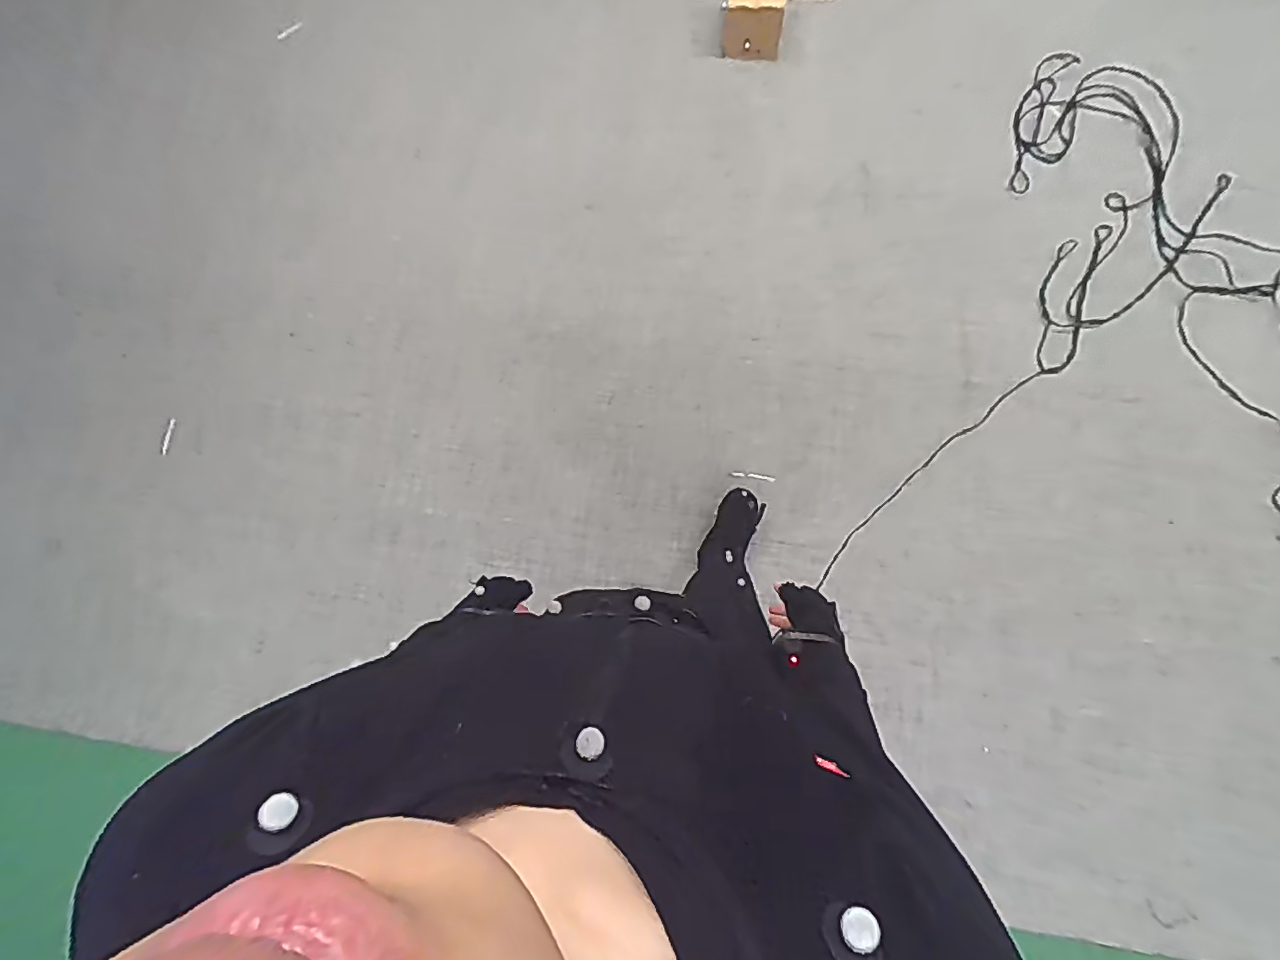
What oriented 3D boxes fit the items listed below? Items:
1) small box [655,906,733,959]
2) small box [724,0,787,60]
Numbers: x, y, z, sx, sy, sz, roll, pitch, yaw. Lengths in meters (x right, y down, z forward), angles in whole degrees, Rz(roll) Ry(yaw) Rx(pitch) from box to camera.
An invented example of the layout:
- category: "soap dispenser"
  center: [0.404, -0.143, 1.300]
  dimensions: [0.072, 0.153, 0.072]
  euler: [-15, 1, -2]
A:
- category: "small box"
  center: [0.121, 1.136, 1.238]
  dimensions: [0.168, 0.176, 0.179]
  euler: [9, 83, 4]
- category: "small box"
  center: [0.341, -1.394, 1.594]
  dimensions: [0.168, 0.176, 0.179]
  euler: [6, 84, 6]
